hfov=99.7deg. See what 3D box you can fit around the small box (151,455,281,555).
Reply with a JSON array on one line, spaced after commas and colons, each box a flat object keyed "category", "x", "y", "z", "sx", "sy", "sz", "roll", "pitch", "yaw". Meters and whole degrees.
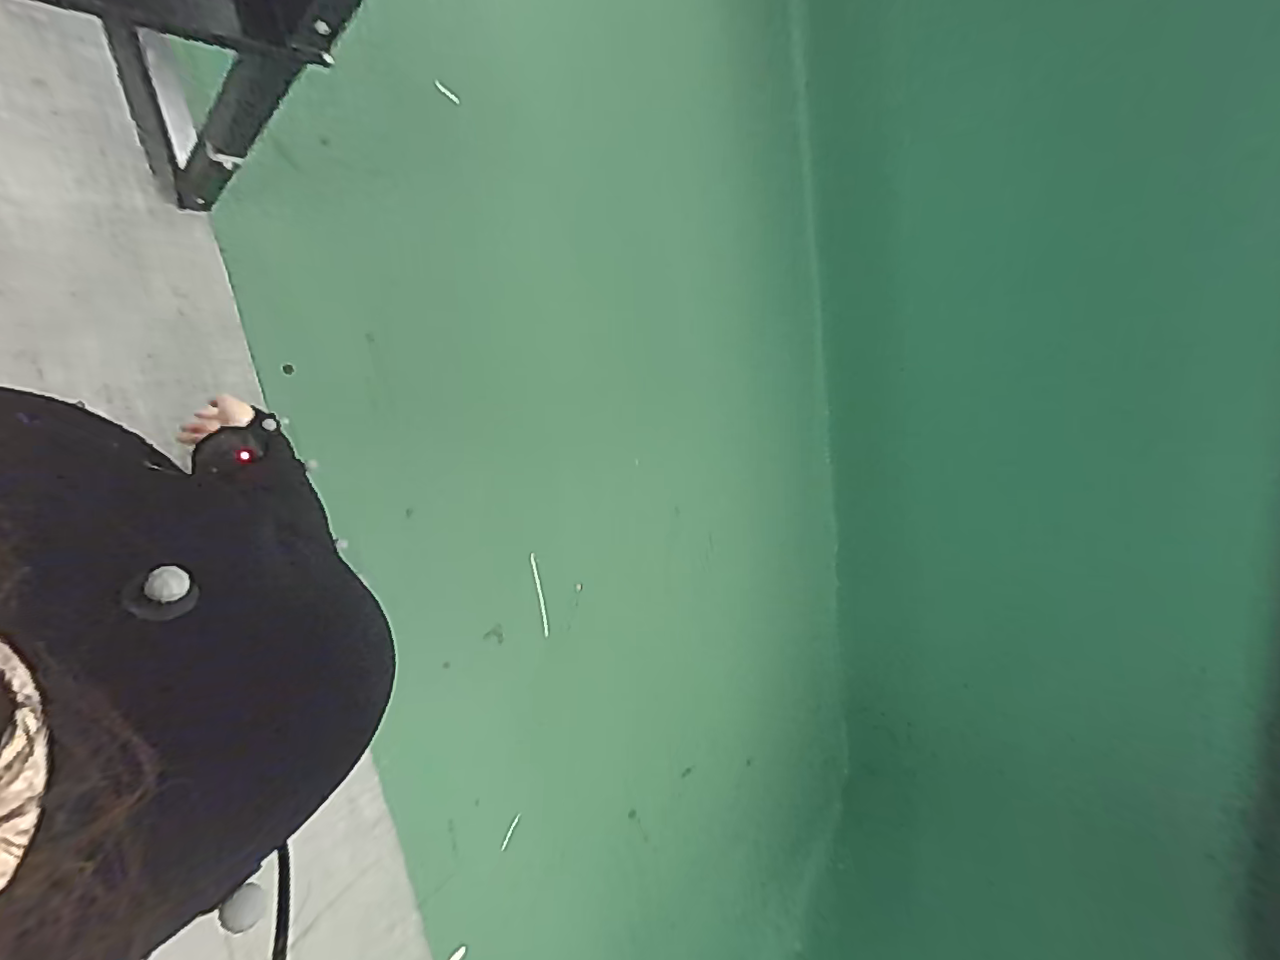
[{"category": "small box", "x": -0.919, "y": 0.047, "z": 1.167, "sx": 0.179, "sy": 0.176, "sz": 0.168, "roll": -24, "pitch": 110, "yaw": -44}]
